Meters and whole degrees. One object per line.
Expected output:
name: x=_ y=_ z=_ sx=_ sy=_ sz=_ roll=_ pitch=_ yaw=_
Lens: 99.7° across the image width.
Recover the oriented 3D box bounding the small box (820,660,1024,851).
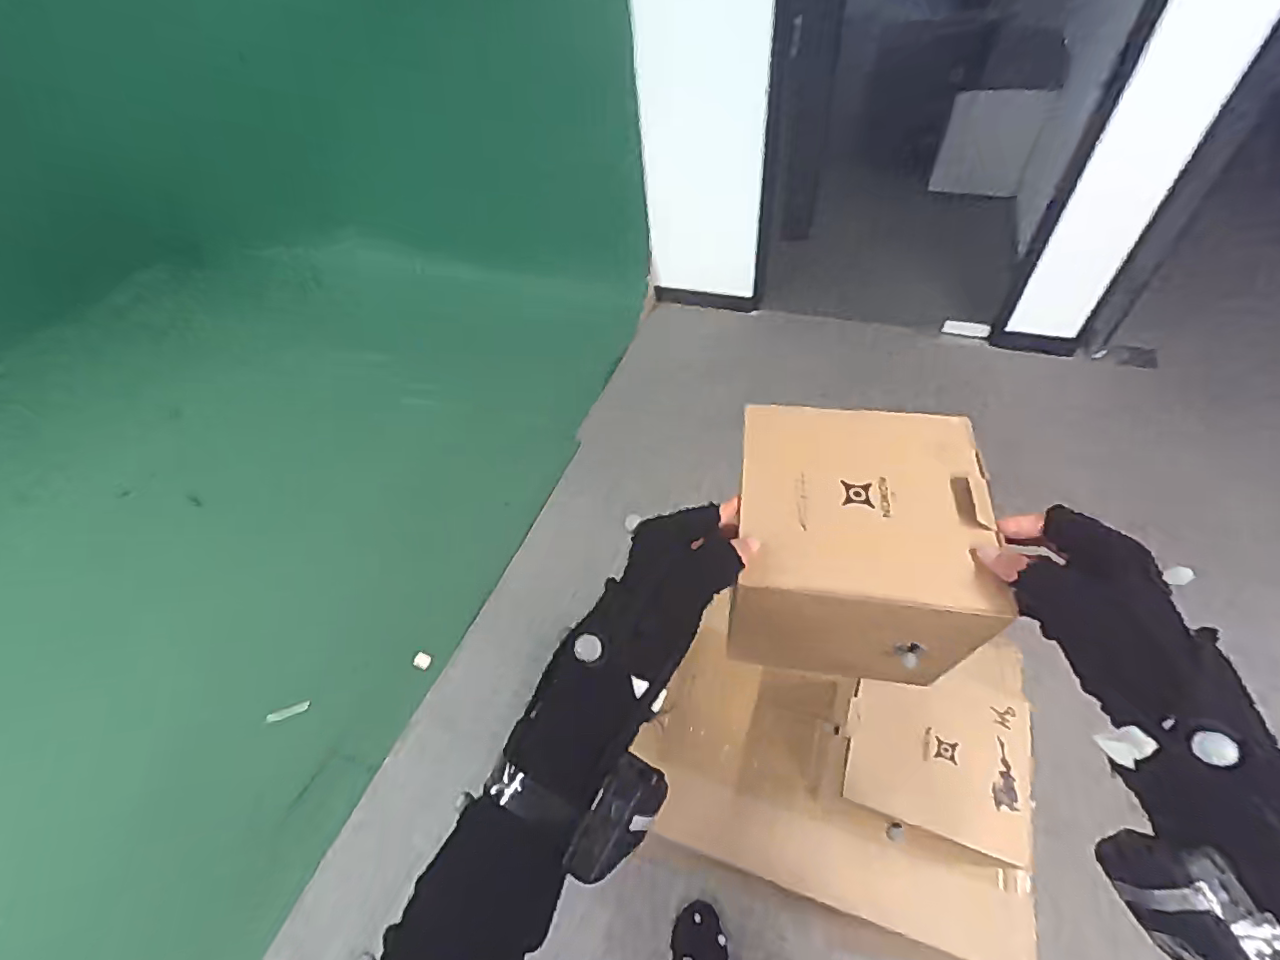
small box: x=0.327 y=0.322 z=0.651 sx=0.179 sy=0.176 sz=0.168 roll=14 pitch=60 yaw=17

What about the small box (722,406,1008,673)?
small box: x=0.166 y=0.057 z=0.464 sx=0.179 sy=0.176 sz=0.168 roll=3 pitch=54 yaw=8
